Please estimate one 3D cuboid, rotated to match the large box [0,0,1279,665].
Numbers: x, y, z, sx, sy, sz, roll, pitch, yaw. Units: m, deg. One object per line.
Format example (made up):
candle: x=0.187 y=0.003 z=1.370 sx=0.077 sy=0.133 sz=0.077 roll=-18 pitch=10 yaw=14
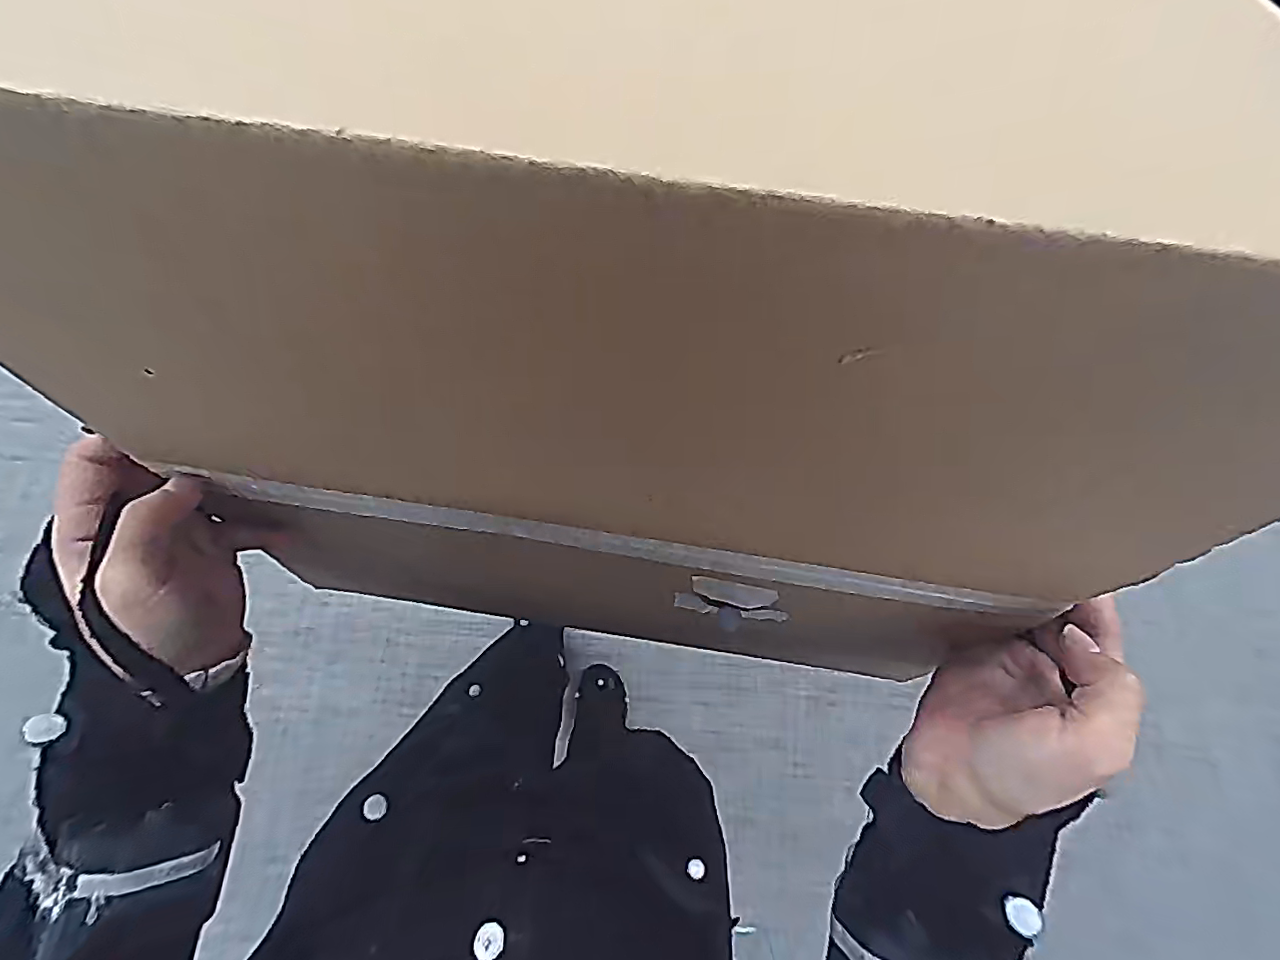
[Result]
large box: x=0.000 y=-0.107 z=0.324 sx=0.408 sy=0.320 sz=0.320 roll=8 pitch=59 yaw=2
